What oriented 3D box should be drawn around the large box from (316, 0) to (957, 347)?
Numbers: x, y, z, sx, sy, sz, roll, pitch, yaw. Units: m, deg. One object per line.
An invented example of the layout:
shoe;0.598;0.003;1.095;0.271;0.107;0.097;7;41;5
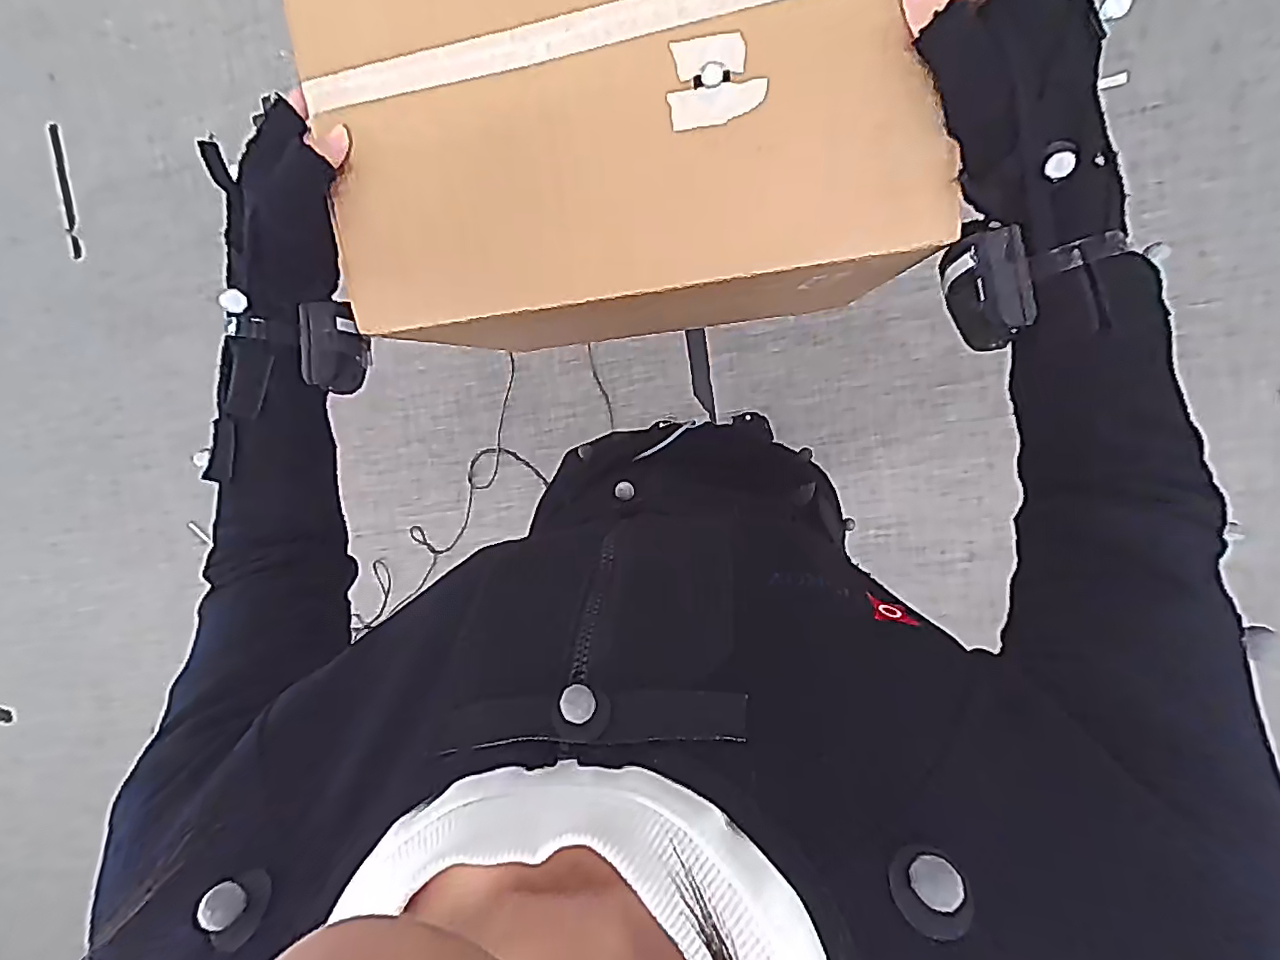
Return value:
large box;0.002;-0.313;0.488;0.408;0.320;0.320;-6;101;9
